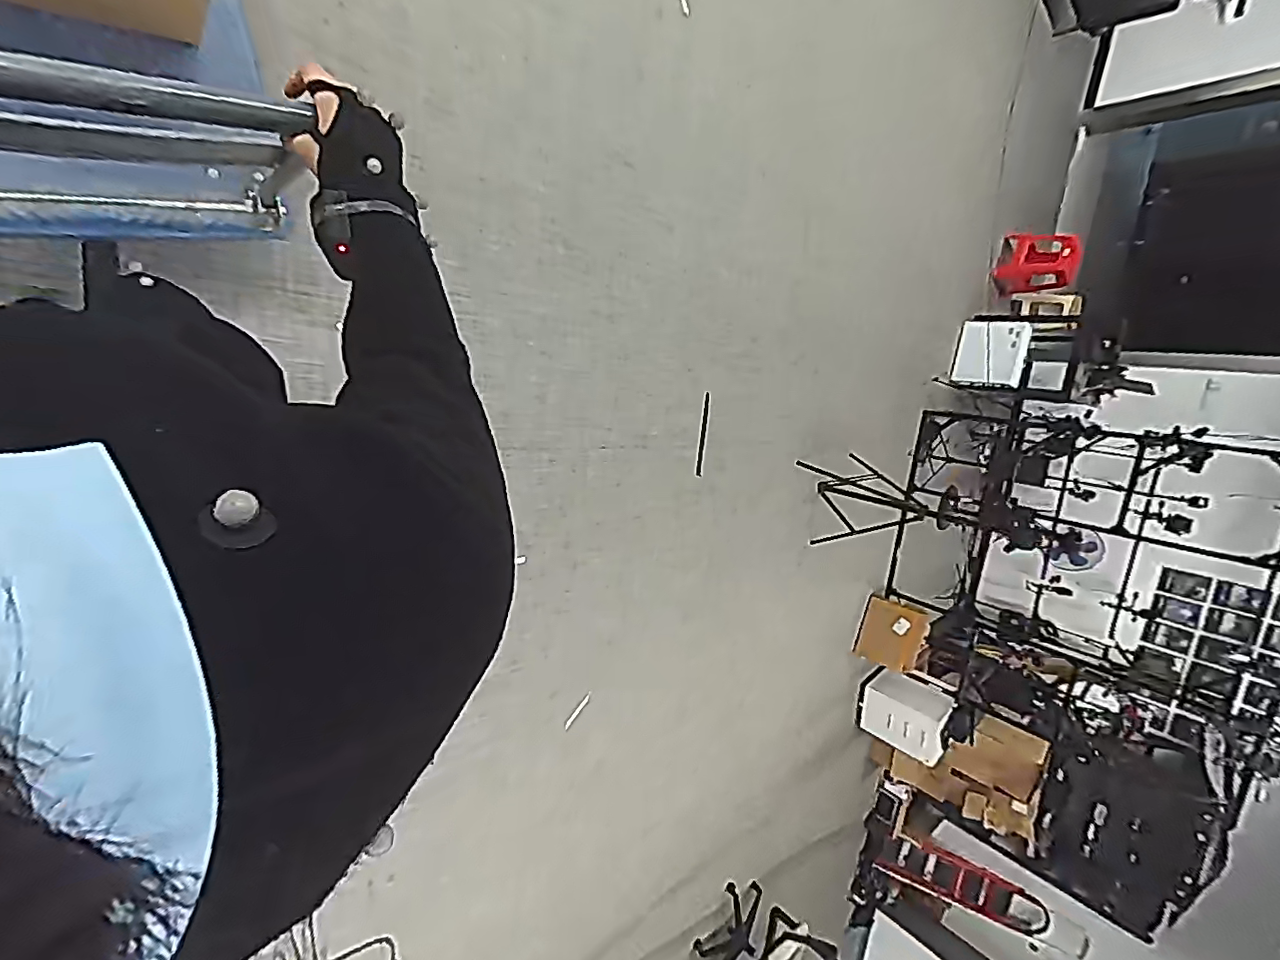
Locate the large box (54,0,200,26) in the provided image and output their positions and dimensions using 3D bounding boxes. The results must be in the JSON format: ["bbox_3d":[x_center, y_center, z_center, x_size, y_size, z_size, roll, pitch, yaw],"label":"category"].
[{"bbox_3d":[-0.823,-0.832,0.654,0.408,0.320,0.320,-17,114,-38],"label":"large box"}]
